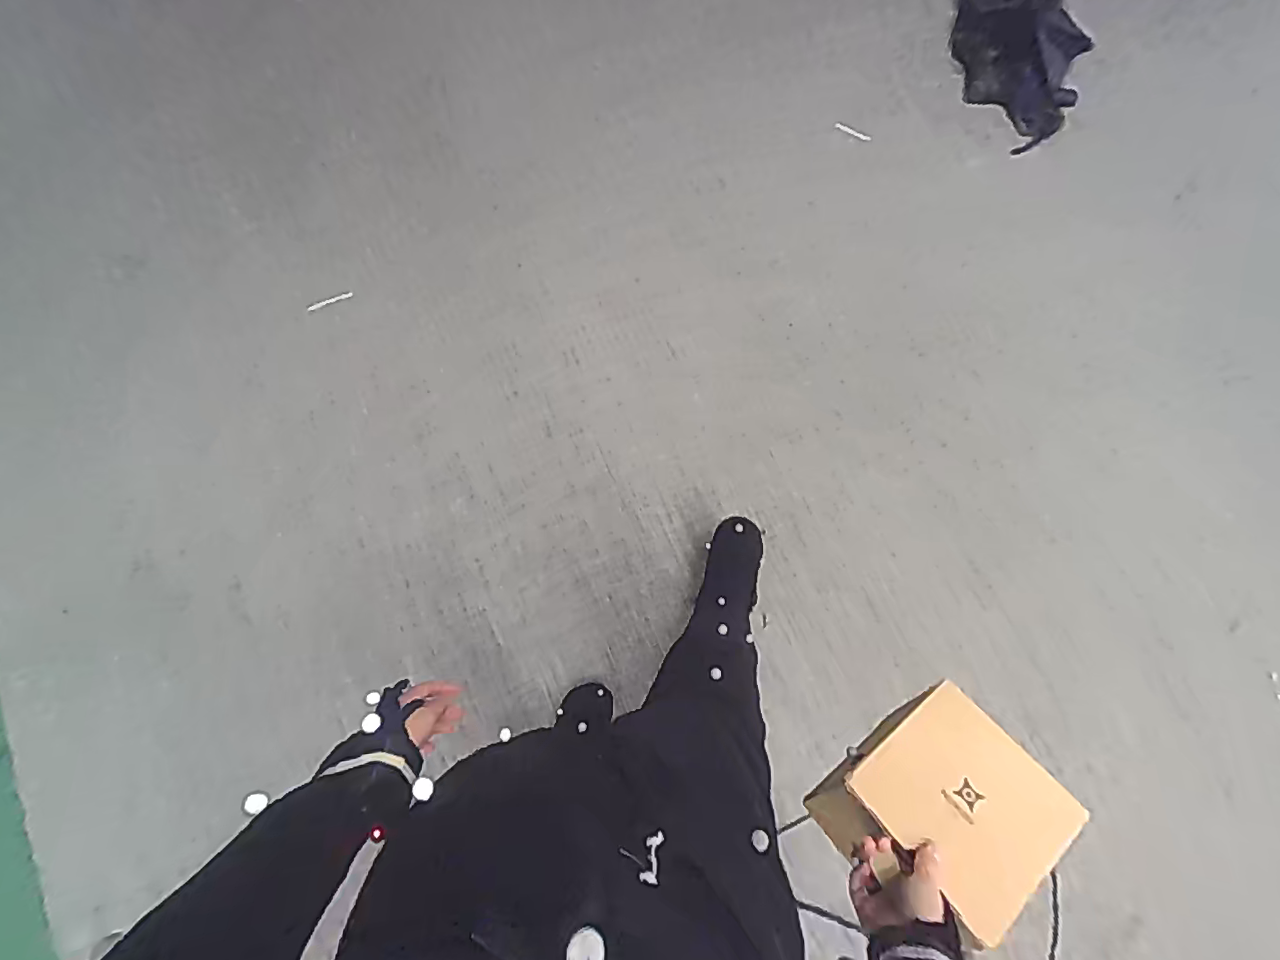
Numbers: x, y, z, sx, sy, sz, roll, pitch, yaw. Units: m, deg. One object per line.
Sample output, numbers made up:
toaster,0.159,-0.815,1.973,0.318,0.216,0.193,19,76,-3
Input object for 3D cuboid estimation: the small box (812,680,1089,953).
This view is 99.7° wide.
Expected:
small box,0.318,0.360,0.592,0.179,0.176,0.168,-31,59,-22
